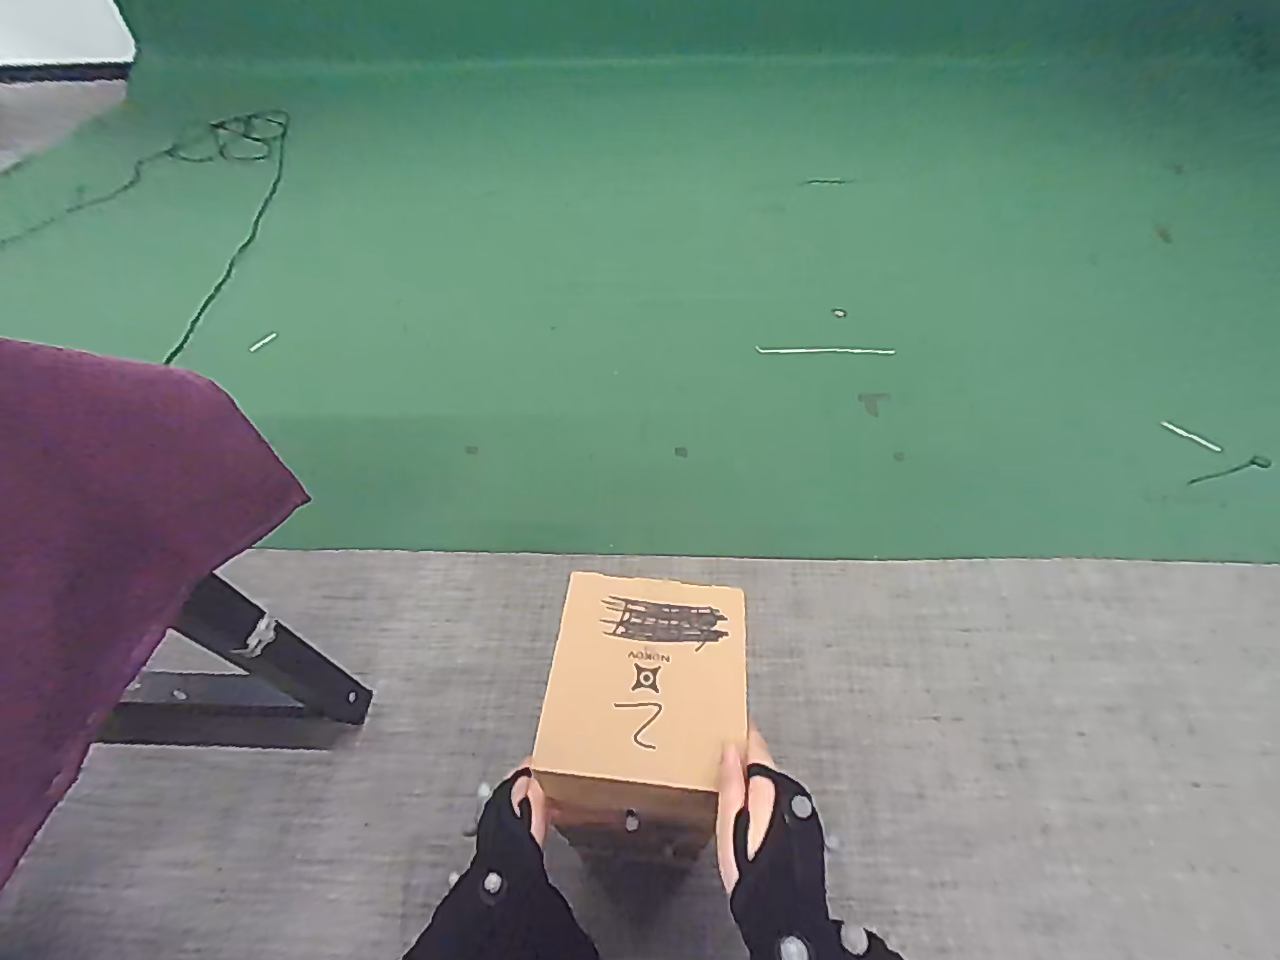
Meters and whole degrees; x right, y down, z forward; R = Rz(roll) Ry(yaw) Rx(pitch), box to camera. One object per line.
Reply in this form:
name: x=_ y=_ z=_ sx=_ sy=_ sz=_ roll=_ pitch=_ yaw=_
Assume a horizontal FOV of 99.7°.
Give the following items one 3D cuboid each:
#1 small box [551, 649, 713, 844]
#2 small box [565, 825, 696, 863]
small box: x=-0.001 y=0.322 z=0.648 sx=0.168 sy=0.176 sz=0.179 roll=3 pitch=51 yaw=2
small box: x=0.000 y=0.429 z=0.771 sx=0.168 sy=0.176 sz=0.179 roll=4 pitch=52 yaw=5
